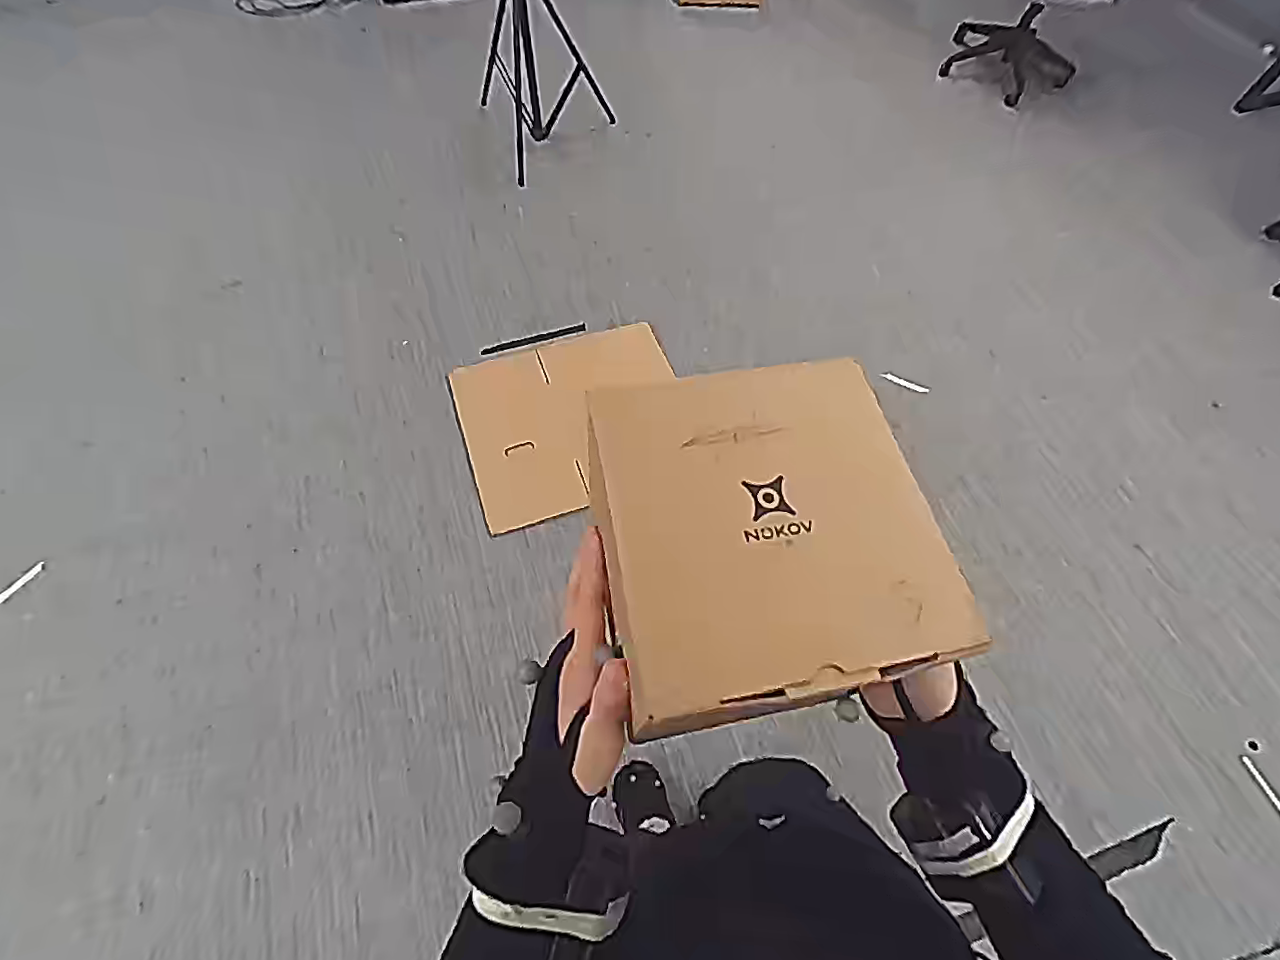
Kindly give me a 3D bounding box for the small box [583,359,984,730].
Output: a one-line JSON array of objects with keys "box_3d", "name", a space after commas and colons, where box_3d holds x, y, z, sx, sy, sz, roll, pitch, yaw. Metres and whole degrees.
[{"box_3d": [0.059, 0.051, 0.345, 0.168, 0.176, 0.179, -8, 61, -10], "name": "small box"}]
